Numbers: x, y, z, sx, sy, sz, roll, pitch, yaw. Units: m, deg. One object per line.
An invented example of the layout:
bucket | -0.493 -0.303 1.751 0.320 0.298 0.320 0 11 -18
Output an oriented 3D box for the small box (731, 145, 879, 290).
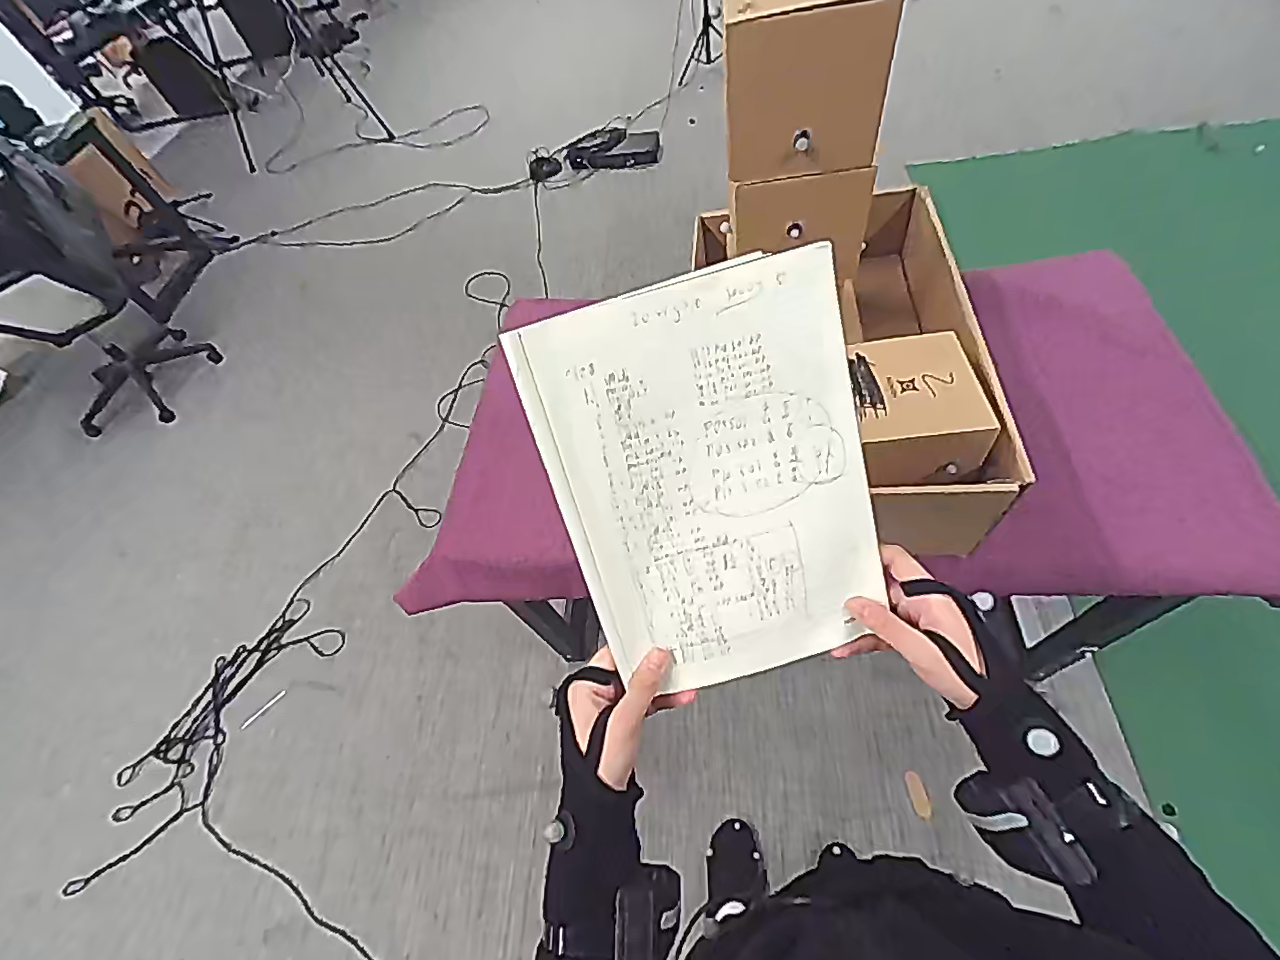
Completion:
small box | 0.222 -0.399 0.779 0.179 0.176 0.168 -4 57 9

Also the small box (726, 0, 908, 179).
small box | 0.193 -0.489 0.645 0.179 0.176 0.168 -1 57 9
